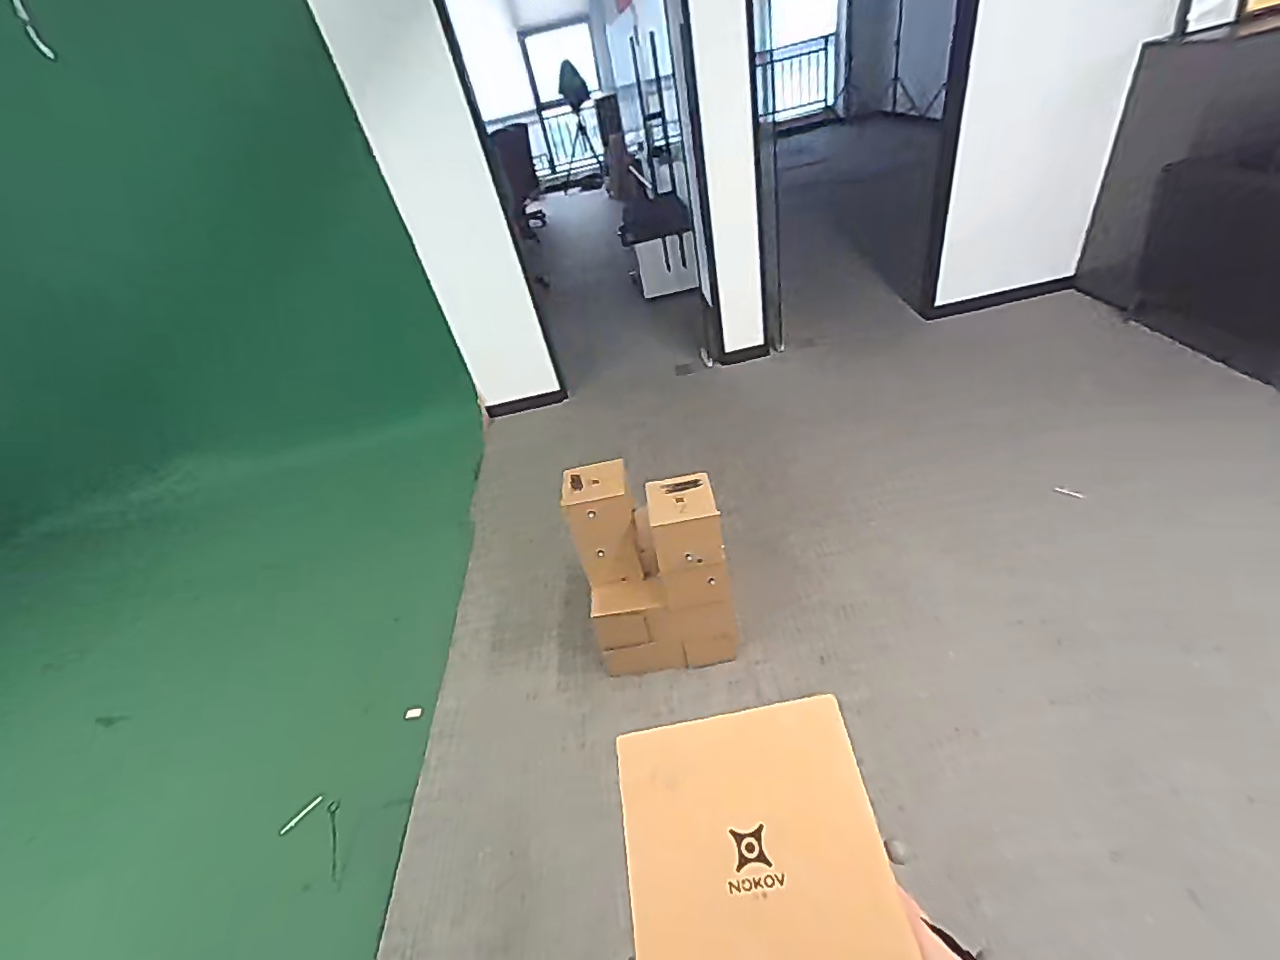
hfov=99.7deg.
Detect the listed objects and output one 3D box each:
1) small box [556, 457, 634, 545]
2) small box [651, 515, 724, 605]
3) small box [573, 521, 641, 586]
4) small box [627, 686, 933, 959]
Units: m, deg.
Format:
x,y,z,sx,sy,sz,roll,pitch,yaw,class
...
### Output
x,y,z,sx,sy,sz,roll,pitch,yaw,class
-0.123,0.064,1.523,0.179,0.176,0.168,-12,37,4,small box
0.134,0.225,1.509,0.179,0.176,0.168,-12,37,3,small box
-0.096,0.192,1.626,0.168,0.176,0.179,-11,36,5,small box
0.096,0.280,0.411,0.168,0.176,0.179,-14,53,7,small box
